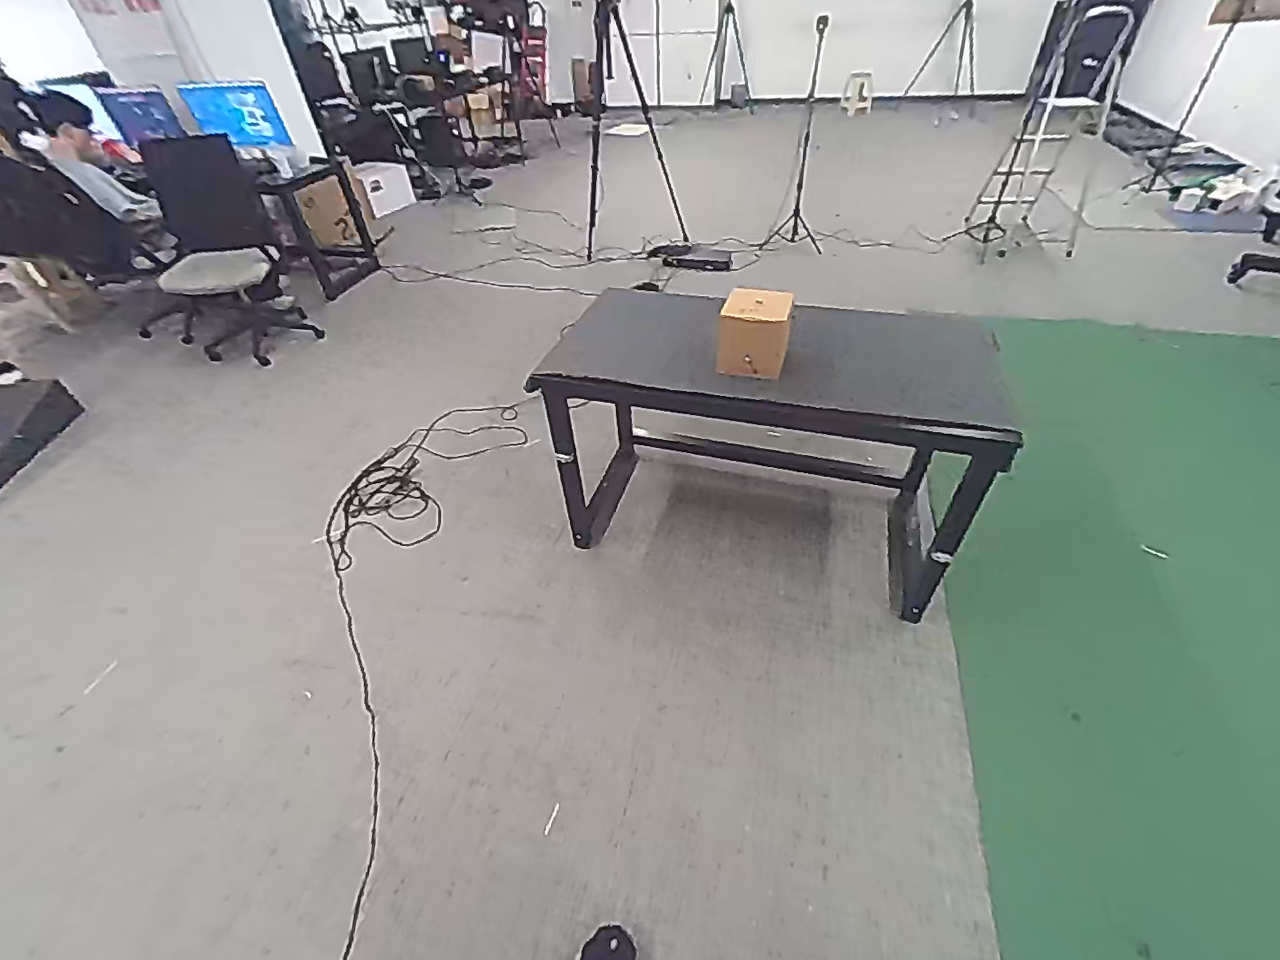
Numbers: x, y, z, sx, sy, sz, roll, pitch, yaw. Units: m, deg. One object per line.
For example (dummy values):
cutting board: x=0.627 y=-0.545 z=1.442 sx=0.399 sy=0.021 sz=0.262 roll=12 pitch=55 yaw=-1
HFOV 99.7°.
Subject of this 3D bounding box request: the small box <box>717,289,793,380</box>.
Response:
small box: x=0.303 y=-0.389 z=1.439 sx=0.168 sy=0.176 sz=0.179 roll=11 pitch=43 yaw=16
